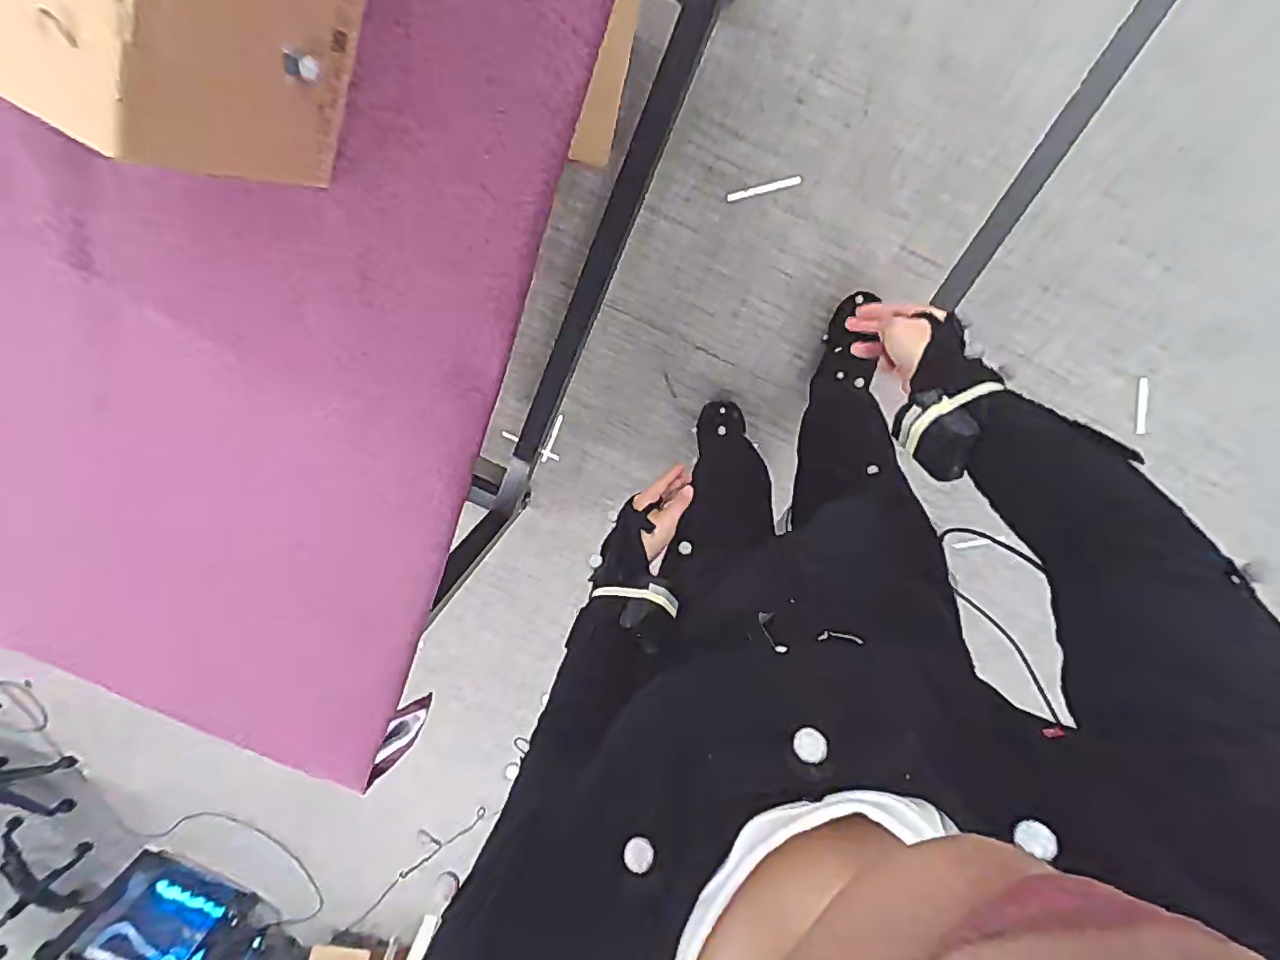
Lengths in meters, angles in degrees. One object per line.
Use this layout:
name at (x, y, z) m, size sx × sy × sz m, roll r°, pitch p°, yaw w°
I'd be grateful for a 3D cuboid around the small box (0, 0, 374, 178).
small box at (-0.312, -0.317, 0.342) m, size 0.179 × 0.176 × 0.168 m, roll 30°, pitch 116°, yaw -2°
